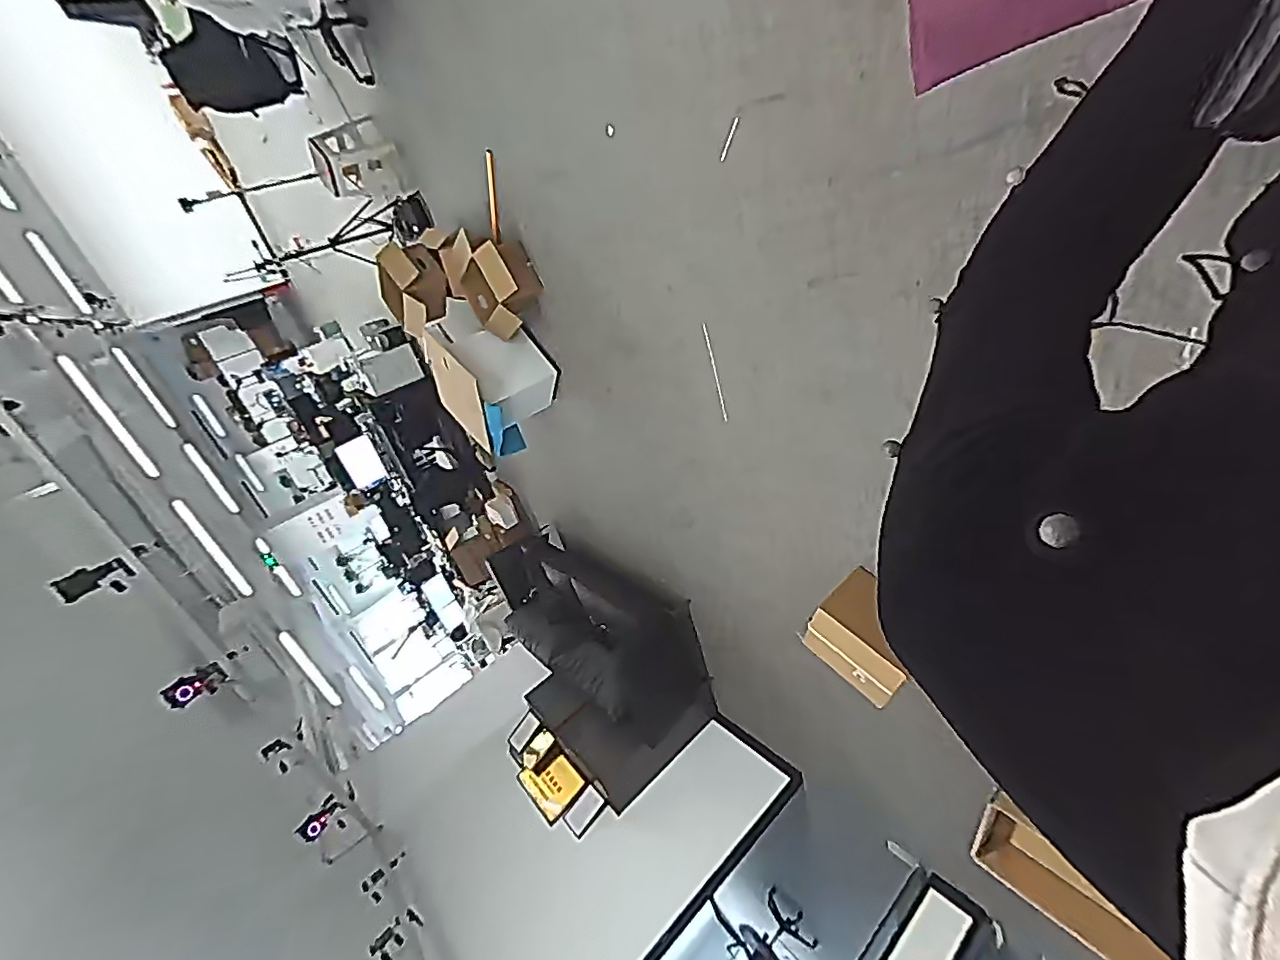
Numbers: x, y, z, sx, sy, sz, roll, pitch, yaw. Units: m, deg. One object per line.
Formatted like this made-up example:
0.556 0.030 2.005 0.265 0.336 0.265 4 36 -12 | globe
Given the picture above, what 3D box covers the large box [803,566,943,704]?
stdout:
0.973 0.647 2.292 0.408 0.320 0.320 37 147 30 | large box
